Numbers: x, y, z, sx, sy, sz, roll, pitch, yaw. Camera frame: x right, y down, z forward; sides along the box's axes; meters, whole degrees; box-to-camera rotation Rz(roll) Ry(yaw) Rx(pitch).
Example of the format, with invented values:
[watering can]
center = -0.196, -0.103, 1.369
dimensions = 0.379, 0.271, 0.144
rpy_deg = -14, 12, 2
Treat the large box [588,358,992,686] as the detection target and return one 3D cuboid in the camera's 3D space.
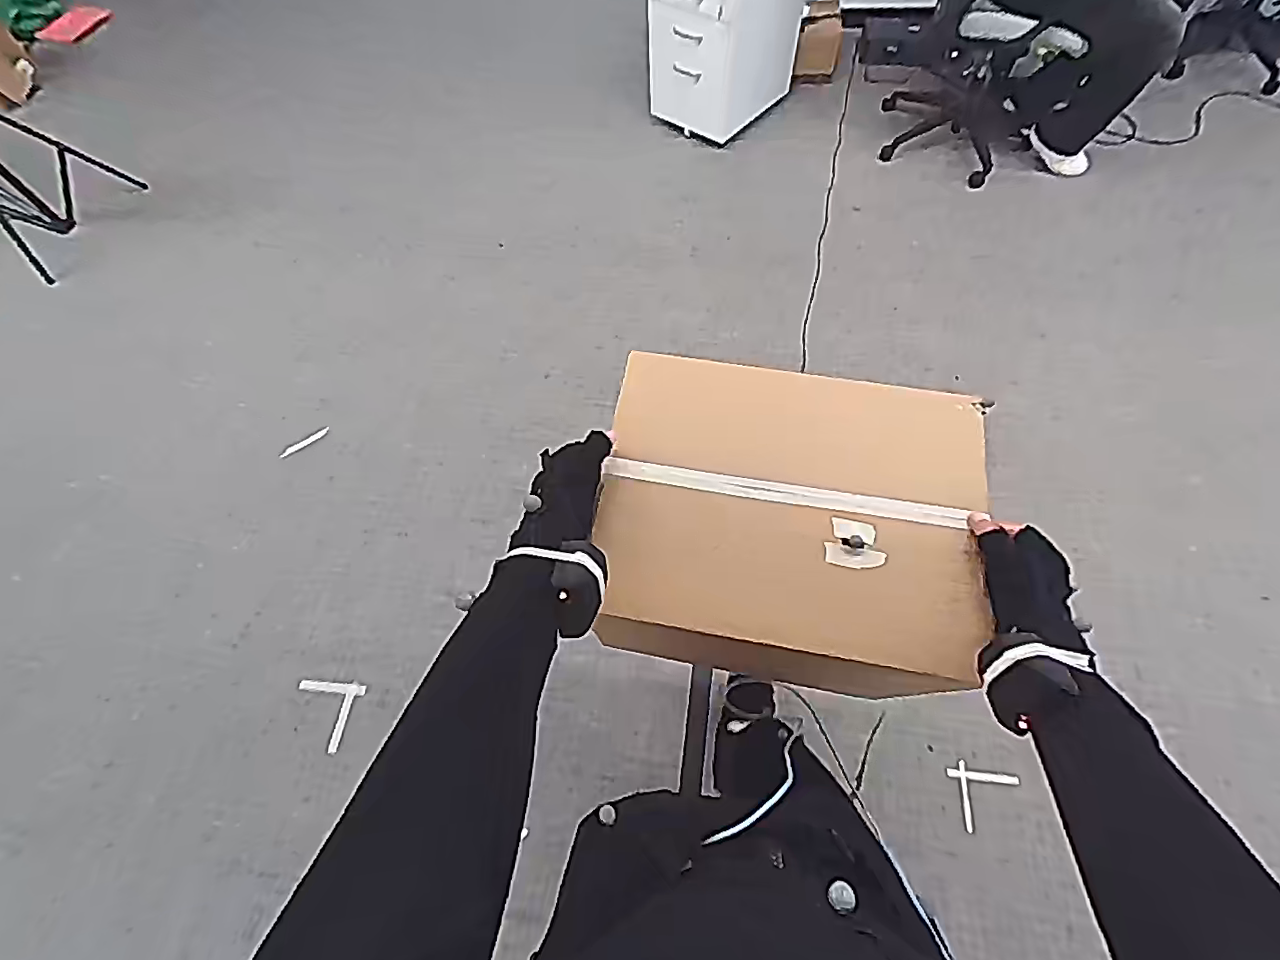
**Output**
[large box]
center = 0.169, 0.073, 0.725
dimensions = 0.408, 0.320, 0.320
rpy_deg = 9, 68, 6
